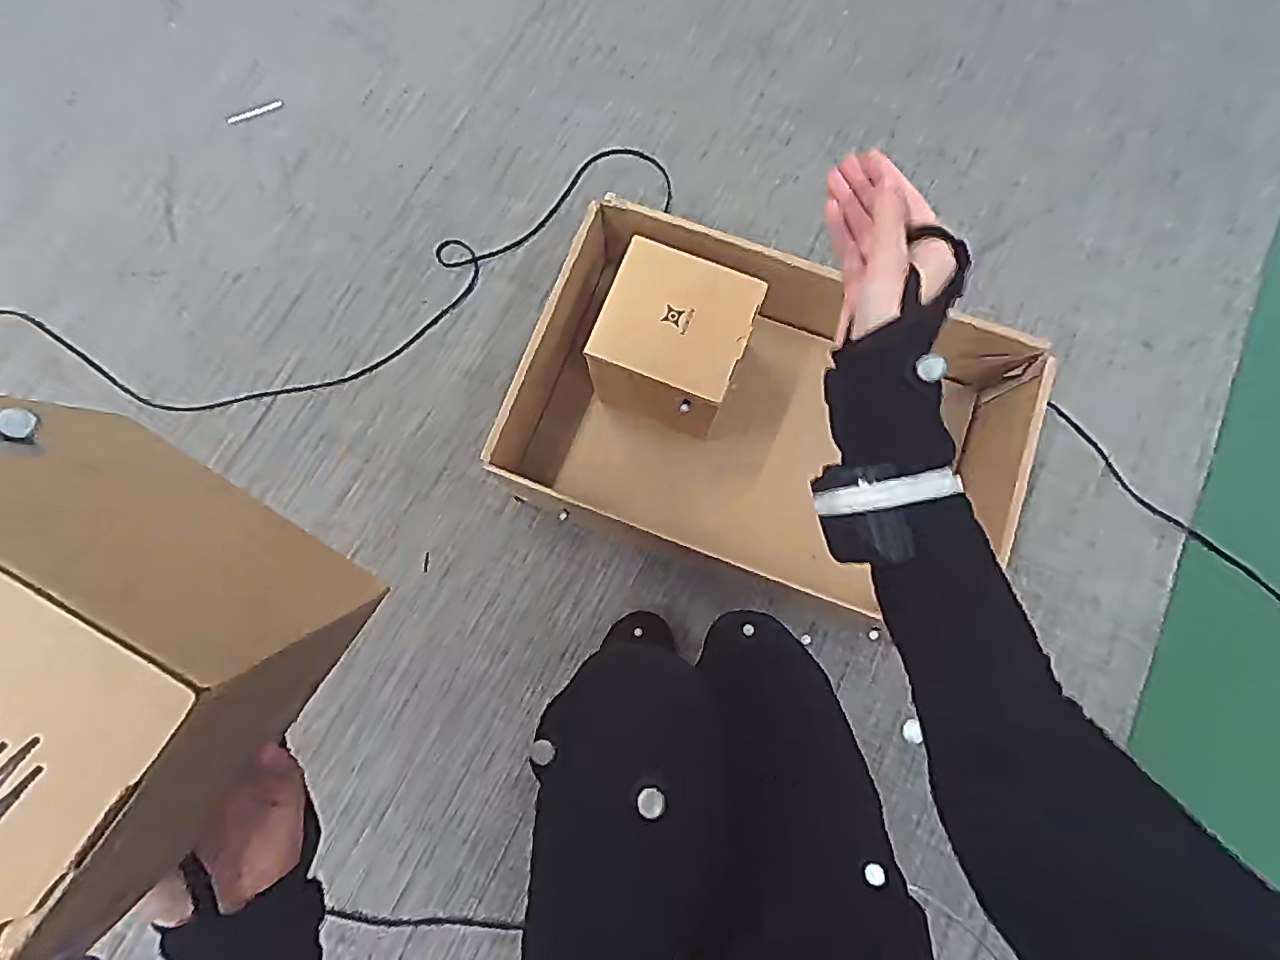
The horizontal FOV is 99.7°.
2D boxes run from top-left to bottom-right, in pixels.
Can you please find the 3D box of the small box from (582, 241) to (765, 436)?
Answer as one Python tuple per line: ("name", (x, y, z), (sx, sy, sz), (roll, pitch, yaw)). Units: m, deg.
("small box", (0.040, -0.174, 0.718), (0.179, 0.176, 0.168), (21, 81, 3))
